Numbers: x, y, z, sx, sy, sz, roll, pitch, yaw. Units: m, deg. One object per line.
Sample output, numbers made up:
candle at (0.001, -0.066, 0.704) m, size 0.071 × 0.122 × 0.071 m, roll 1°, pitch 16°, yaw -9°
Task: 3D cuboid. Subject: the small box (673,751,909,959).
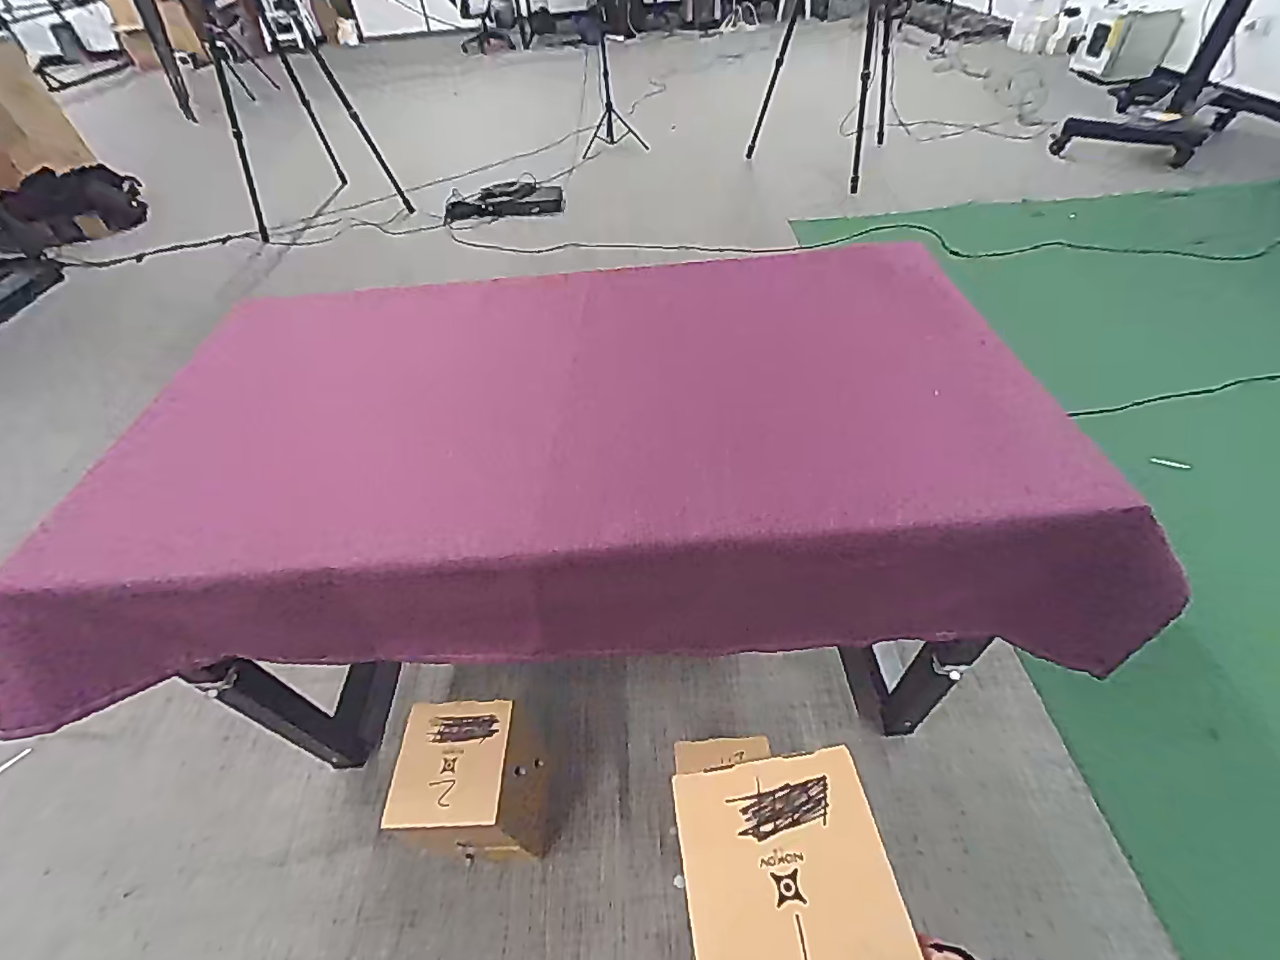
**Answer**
small box at (0.129, 0.383, 0.508) m, size 0.168 × 0.176 × 0.179 m, roll -11°, pitch 47°, yaw 4°
